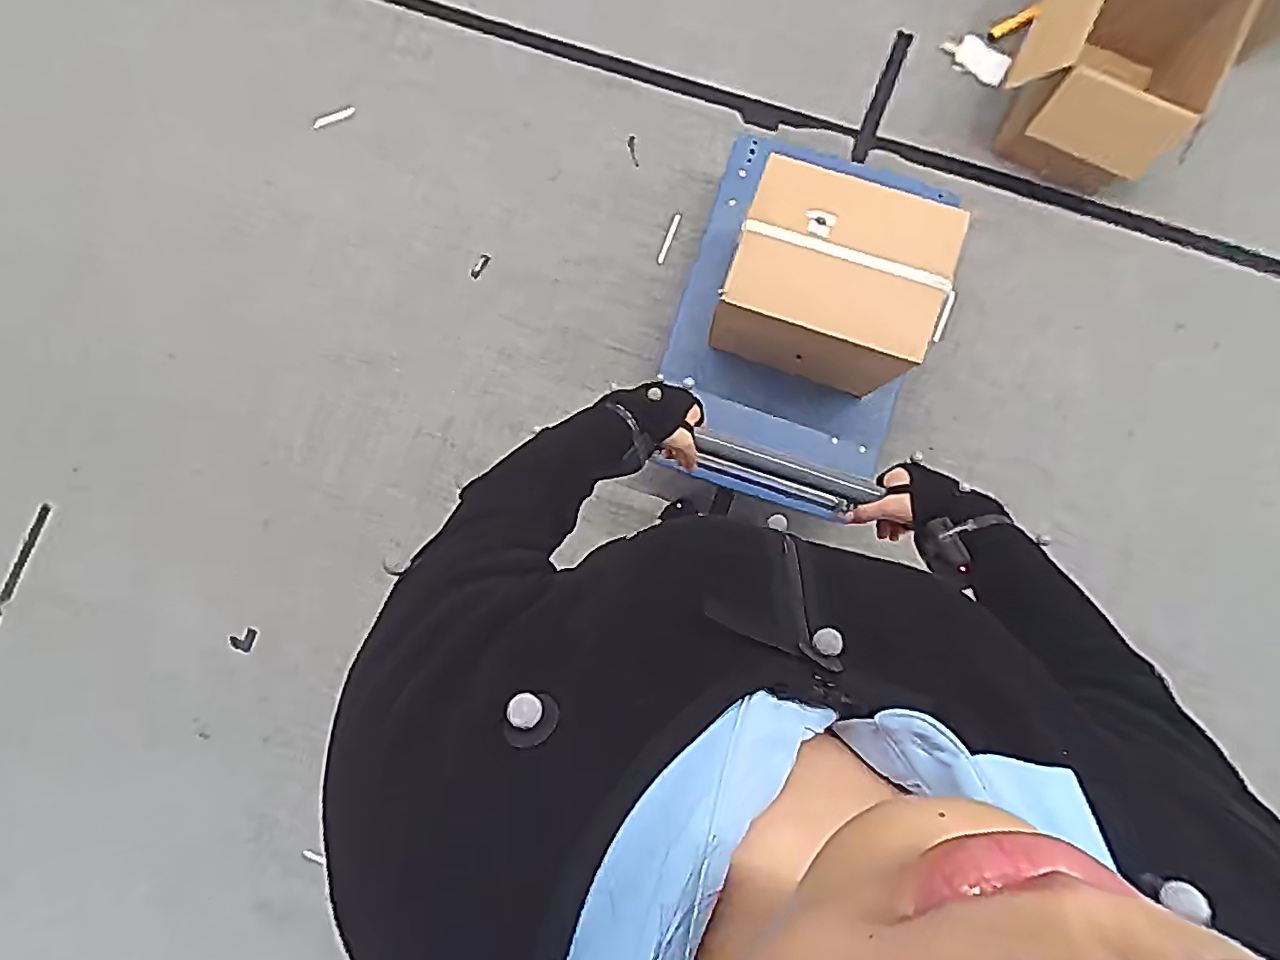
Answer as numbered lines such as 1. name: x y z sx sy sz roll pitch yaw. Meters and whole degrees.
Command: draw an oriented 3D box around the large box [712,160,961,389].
1. large box: 0.406 -0.432 1.212 0.408 0.320 0.320 19 87 5
